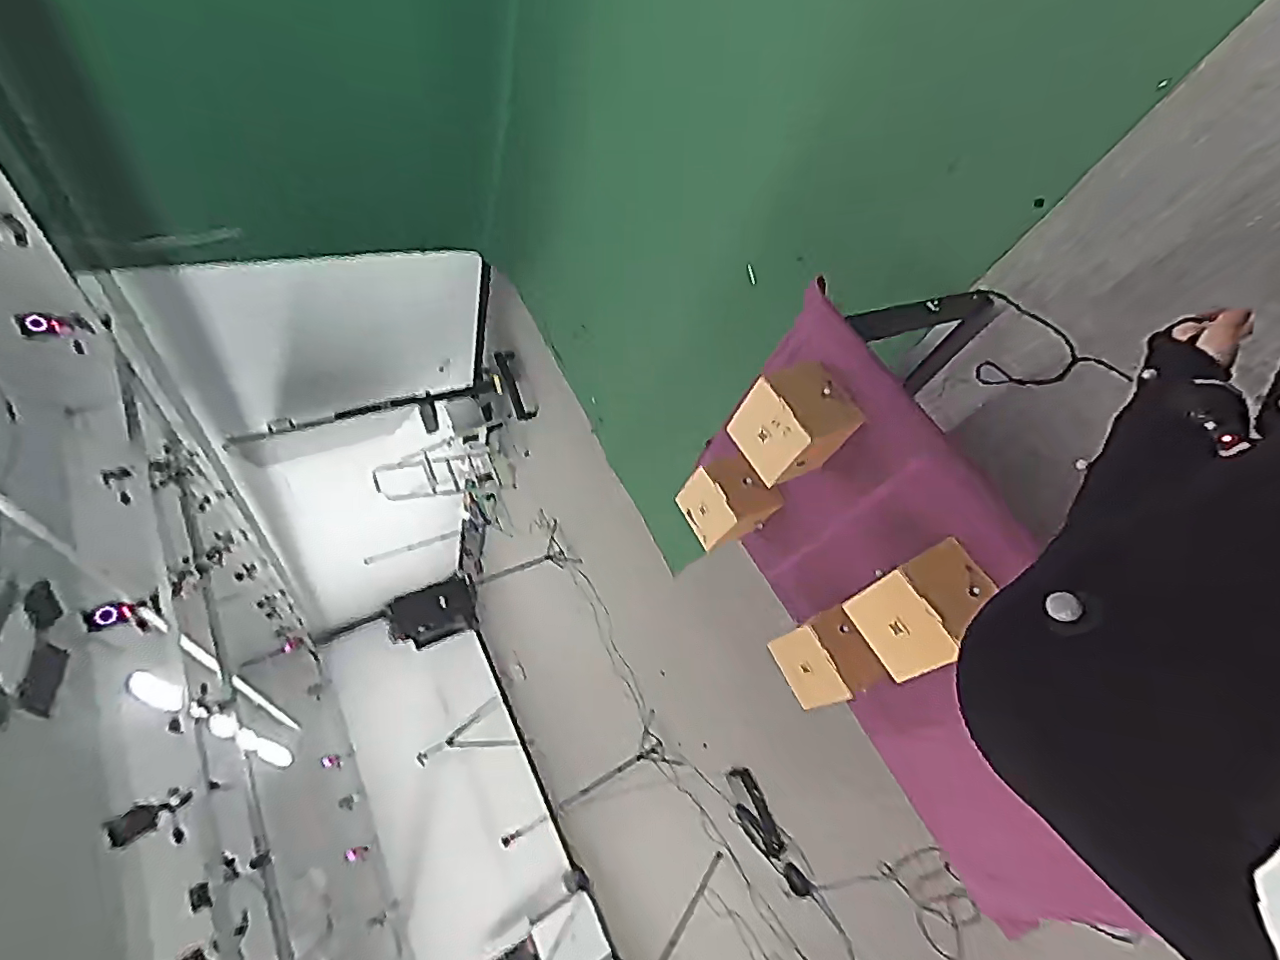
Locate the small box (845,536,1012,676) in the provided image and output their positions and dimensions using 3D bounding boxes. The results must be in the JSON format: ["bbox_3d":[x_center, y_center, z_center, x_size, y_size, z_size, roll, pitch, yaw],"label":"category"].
[{"bbox_3d":[0.528,0.229,0.996,0.168,0.176,0.179,58,148,23],"label":"small box"}]

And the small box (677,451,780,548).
[{"bbox_3d":[0.231,0.046,1.385,0.168,0.176,0.179,60,146,20],"label":"small box"}]

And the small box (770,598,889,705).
[{"bbox_3d":[0.440,0.386,1.233,0.168,0.176,0.179,61,149,19],"label":"small box"}]

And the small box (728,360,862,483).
[{"bbox_3d":[0.323,-0.124,1.134,0.168,0.176,0.179,58,148,20],"label":"small box"}]
